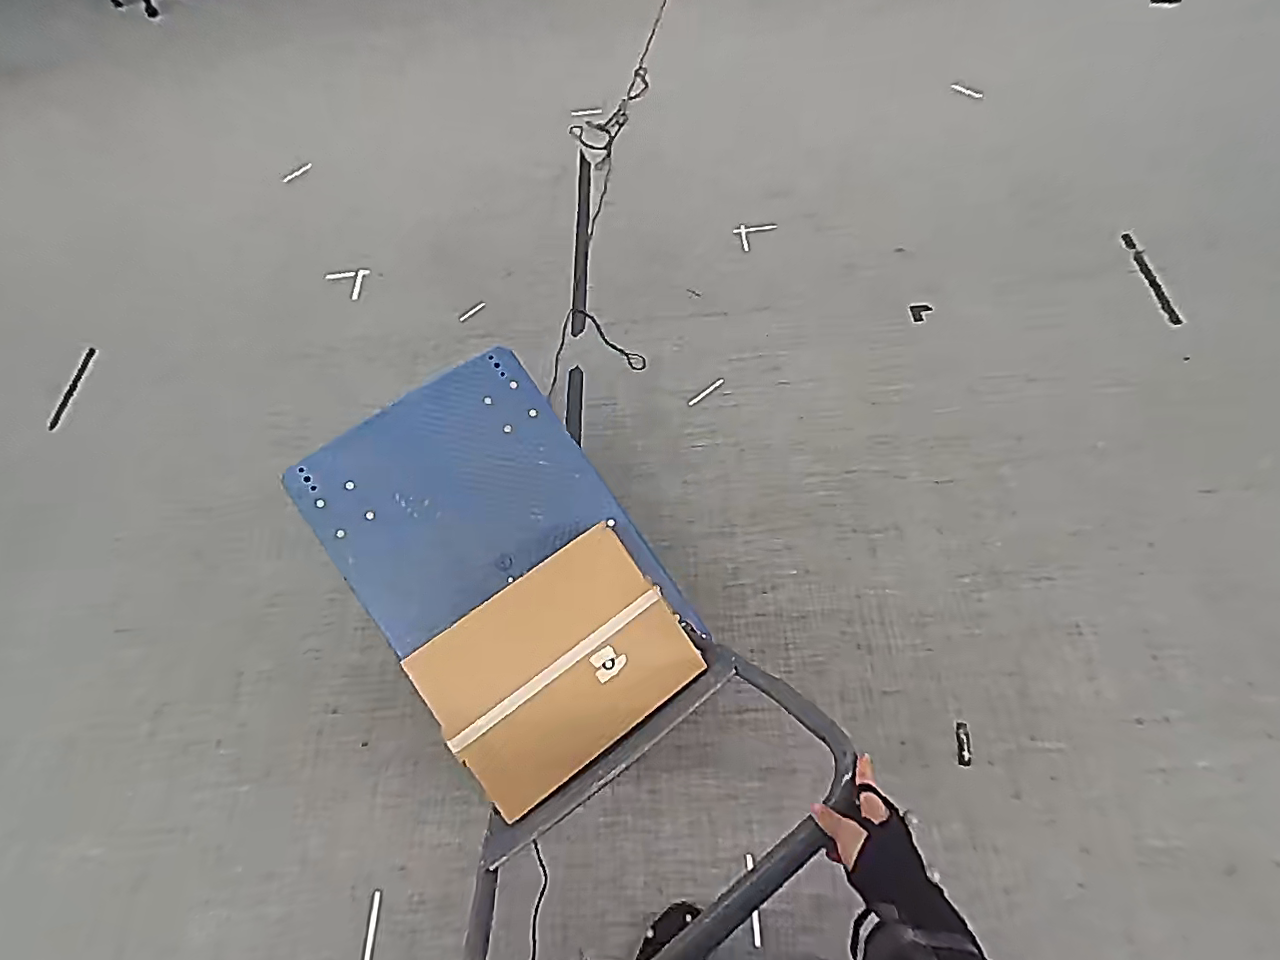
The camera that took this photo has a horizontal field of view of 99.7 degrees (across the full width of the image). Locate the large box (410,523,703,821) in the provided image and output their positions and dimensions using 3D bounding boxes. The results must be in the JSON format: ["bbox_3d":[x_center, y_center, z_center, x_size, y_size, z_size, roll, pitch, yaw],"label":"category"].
[{"bbox_3d":[-0.155,0.338,1.053,0.408,0.320,0.320,-36,88,-13],"label":"large box"}]
